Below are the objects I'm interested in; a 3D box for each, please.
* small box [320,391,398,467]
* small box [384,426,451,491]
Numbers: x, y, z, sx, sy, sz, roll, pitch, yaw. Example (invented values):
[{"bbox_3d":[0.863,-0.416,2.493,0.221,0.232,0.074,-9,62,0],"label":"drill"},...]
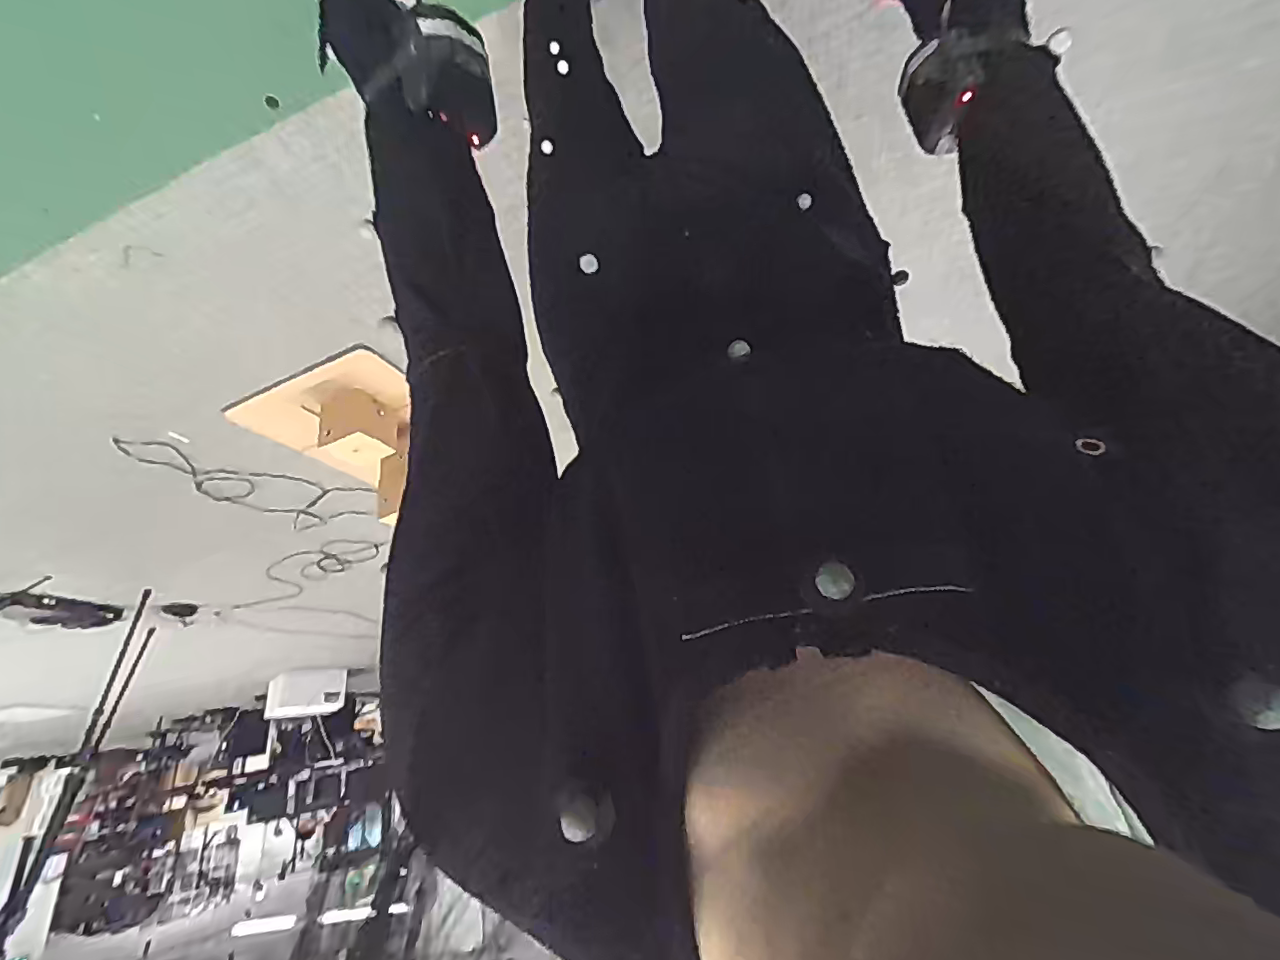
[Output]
[{"bbox_3d":[-0.940,-0.172,1.826,0.179,0.176,0.168,-19,154,15],"label":"small box"},{"bbox_3d":[-0.838,-0.083,2.037,0.179,0.176,0.168,-20,152,19],"label":"small box"}]
